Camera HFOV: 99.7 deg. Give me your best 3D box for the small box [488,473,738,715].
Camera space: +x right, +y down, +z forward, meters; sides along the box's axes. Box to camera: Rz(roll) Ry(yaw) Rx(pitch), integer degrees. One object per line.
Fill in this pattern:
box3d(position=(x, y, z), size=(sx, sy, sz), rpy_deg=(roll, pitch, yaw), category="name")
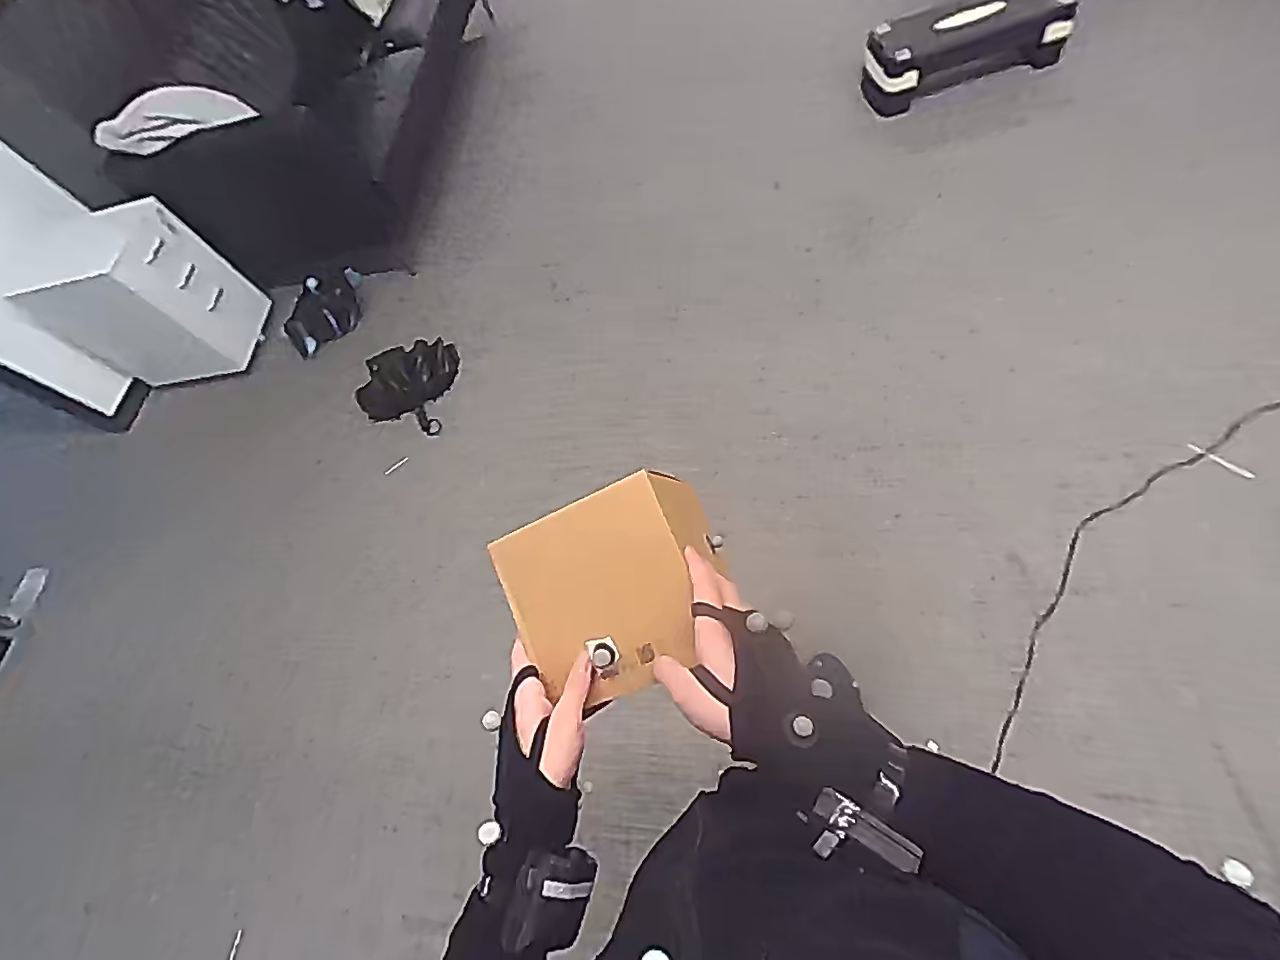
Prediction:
box3d(position=(-0.015, 0.108, 0.542), size=(0.168, 0.179, 0.176), rpy_deg=(-27, 80, 13), category="small box")
